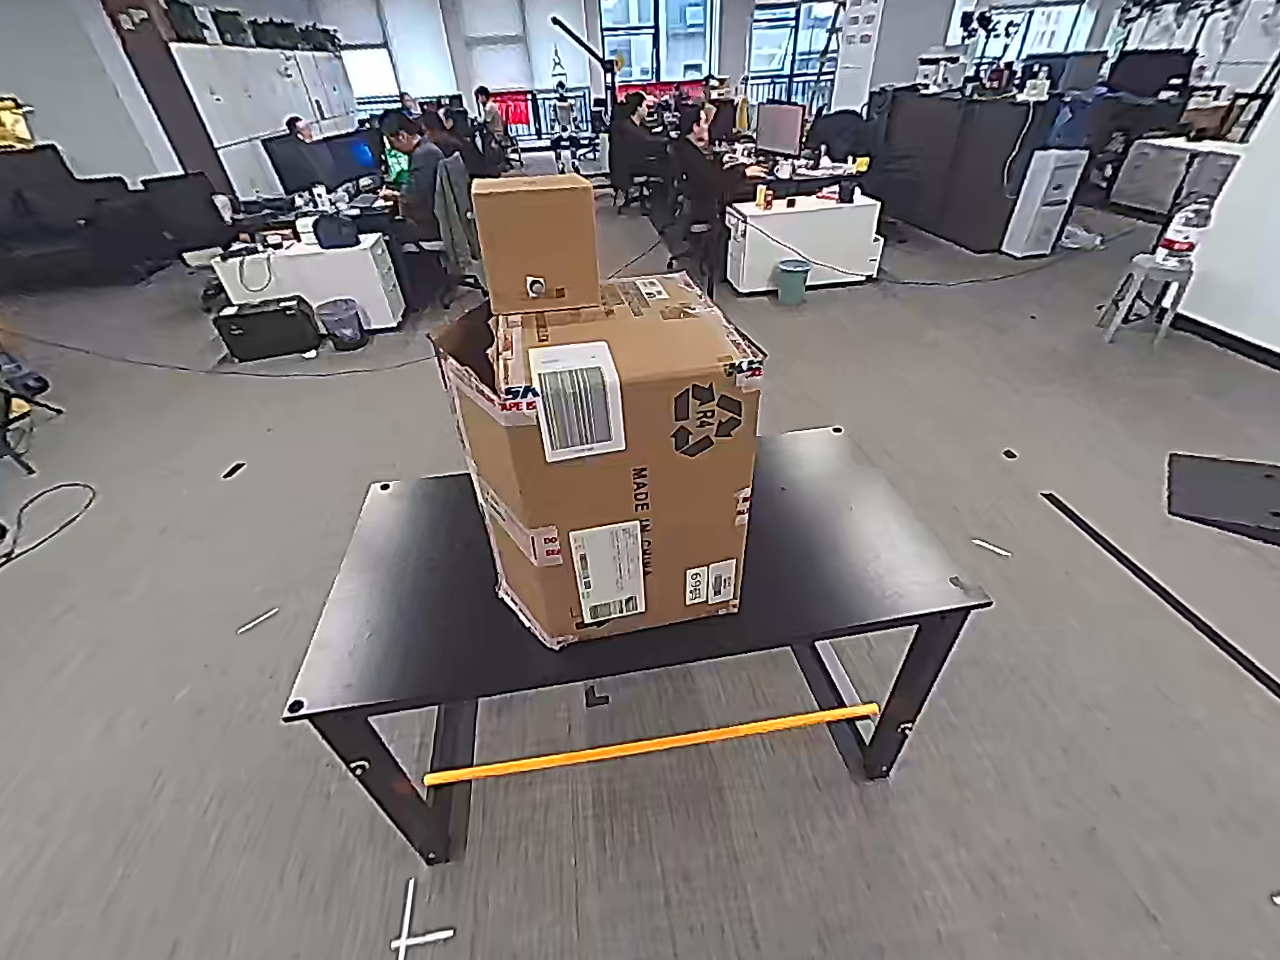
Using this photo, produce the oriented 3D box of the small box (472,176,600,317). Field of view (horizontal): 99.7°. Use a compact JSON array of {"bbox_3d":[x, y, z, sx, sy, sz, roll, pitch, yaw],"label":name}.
[{"bbox_3d":[-0.161,-0.366,0.842,0.168,0.176,0.179,-10,36,-10],"label":"small box"}]
